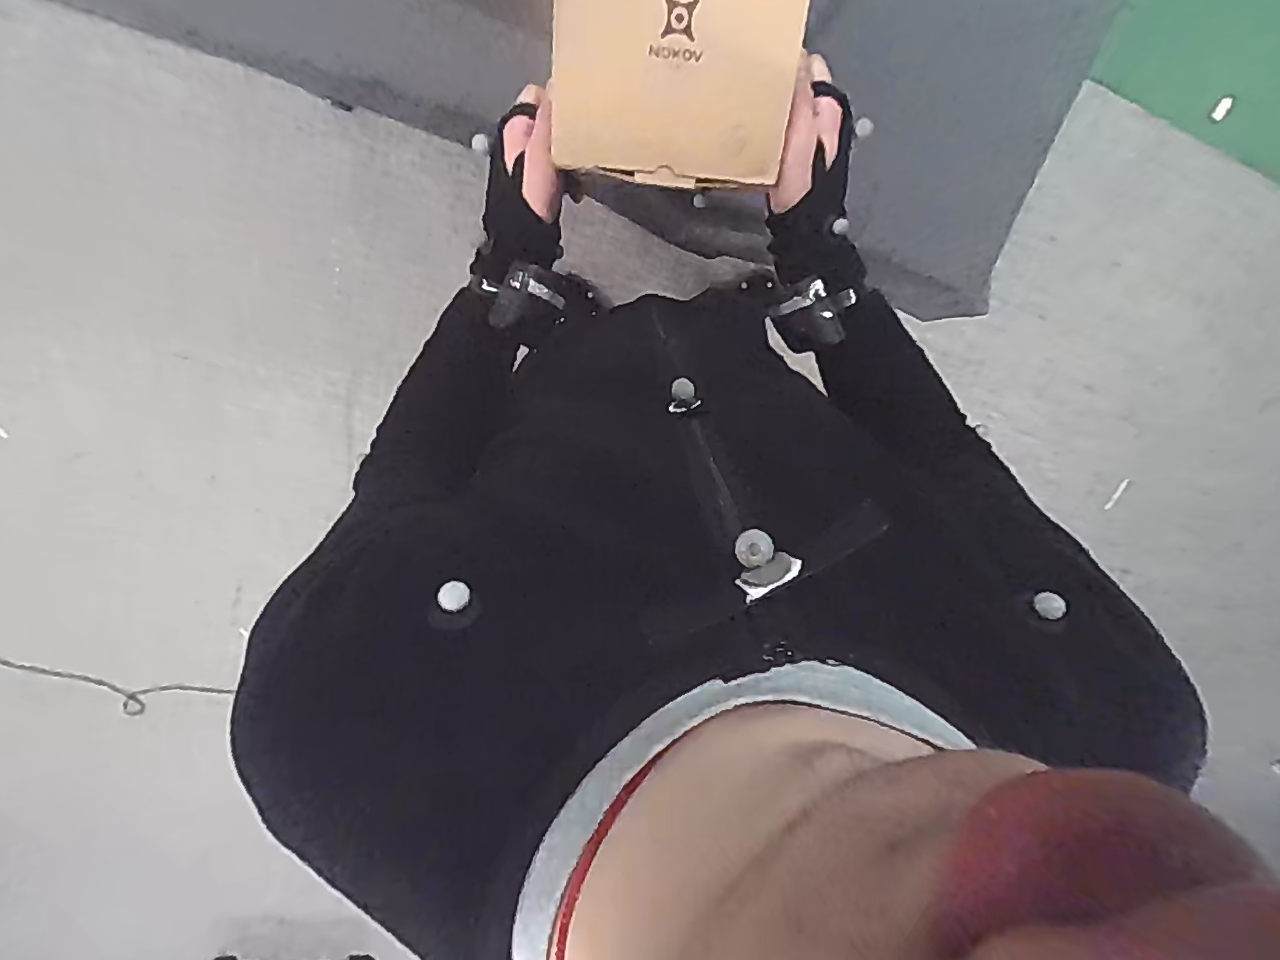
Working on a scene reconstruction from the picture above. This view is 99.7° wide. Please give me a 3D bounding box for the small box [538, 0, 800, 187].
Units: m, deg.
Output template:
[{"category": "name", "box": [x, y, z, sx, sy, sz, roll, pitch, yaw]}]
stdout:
[{"category": "small box", "box": [0.017, -0.330, 0.412, 0.168, 0.176, 0.179, 4, 116, -4]}]
